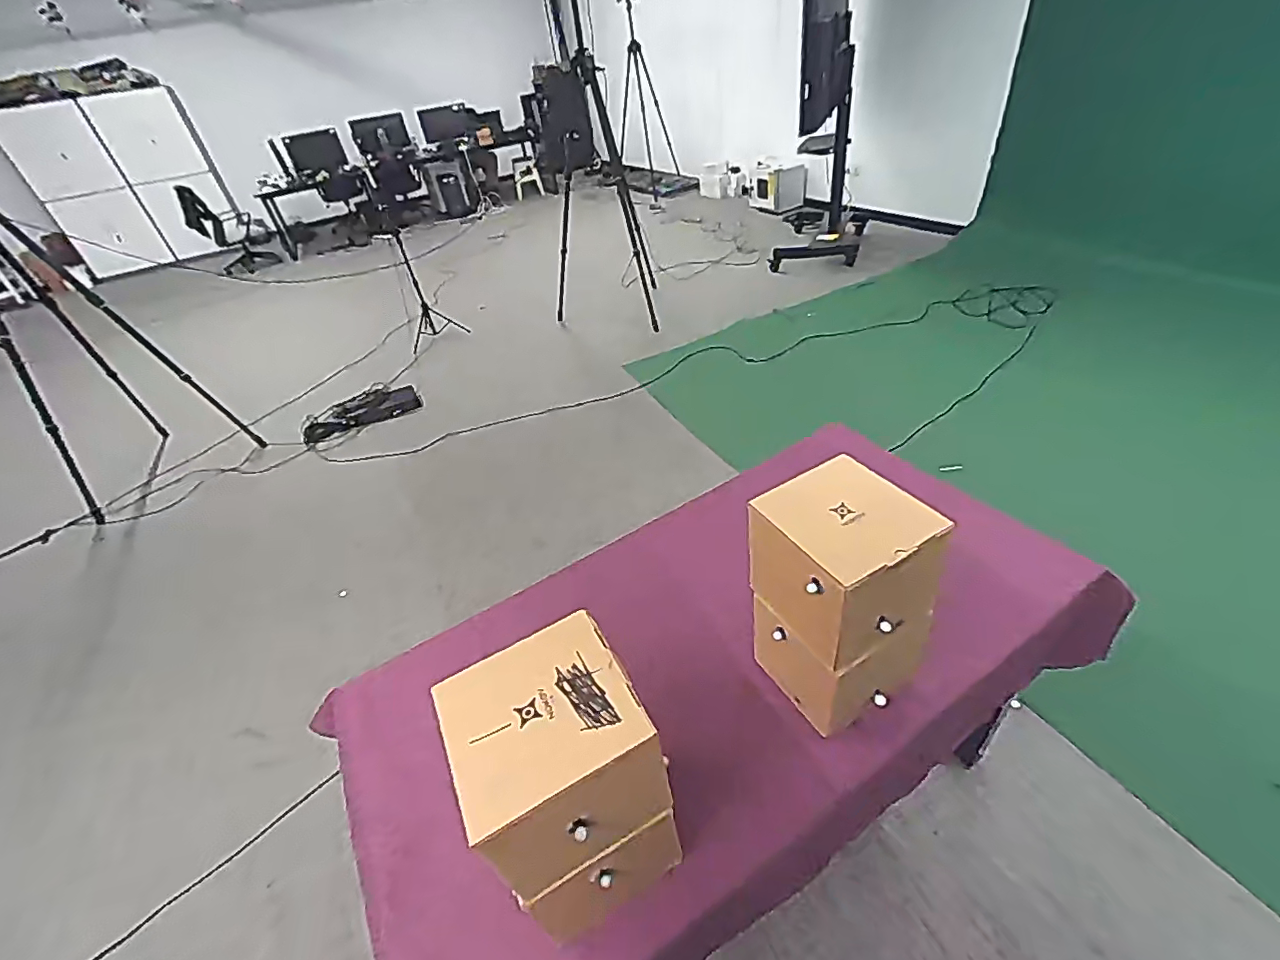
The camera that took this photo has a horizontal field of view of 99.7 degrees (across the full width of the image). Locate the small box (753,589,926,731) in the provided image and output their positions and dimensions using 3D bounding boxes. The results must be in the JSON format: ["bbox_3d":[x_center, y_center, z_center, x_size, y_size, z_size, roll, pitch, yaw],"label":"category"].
[{"bbox_3d":[0.284,0.231,0.809,0.179,0.176,0.168,-25,40,-18],"label":"small box"}]

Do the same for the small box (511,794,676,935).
[{"bbox_3d":[-0.071,0.410,0.668,0.179,0.176,0.168,-24,41,-17],"label":"small box"}]

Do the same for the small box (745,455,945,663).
[{"bbox_3d":[0.254,0.101,0.714,0.168,0.176,0.179,-25,42,-17],"label":"small box"}]

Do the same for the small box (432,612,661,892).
[{"bbox_3d":[-0.089,0.281,0.568,0.179,0.176,0.168,-26,42,-17],"label":"small box"}]
